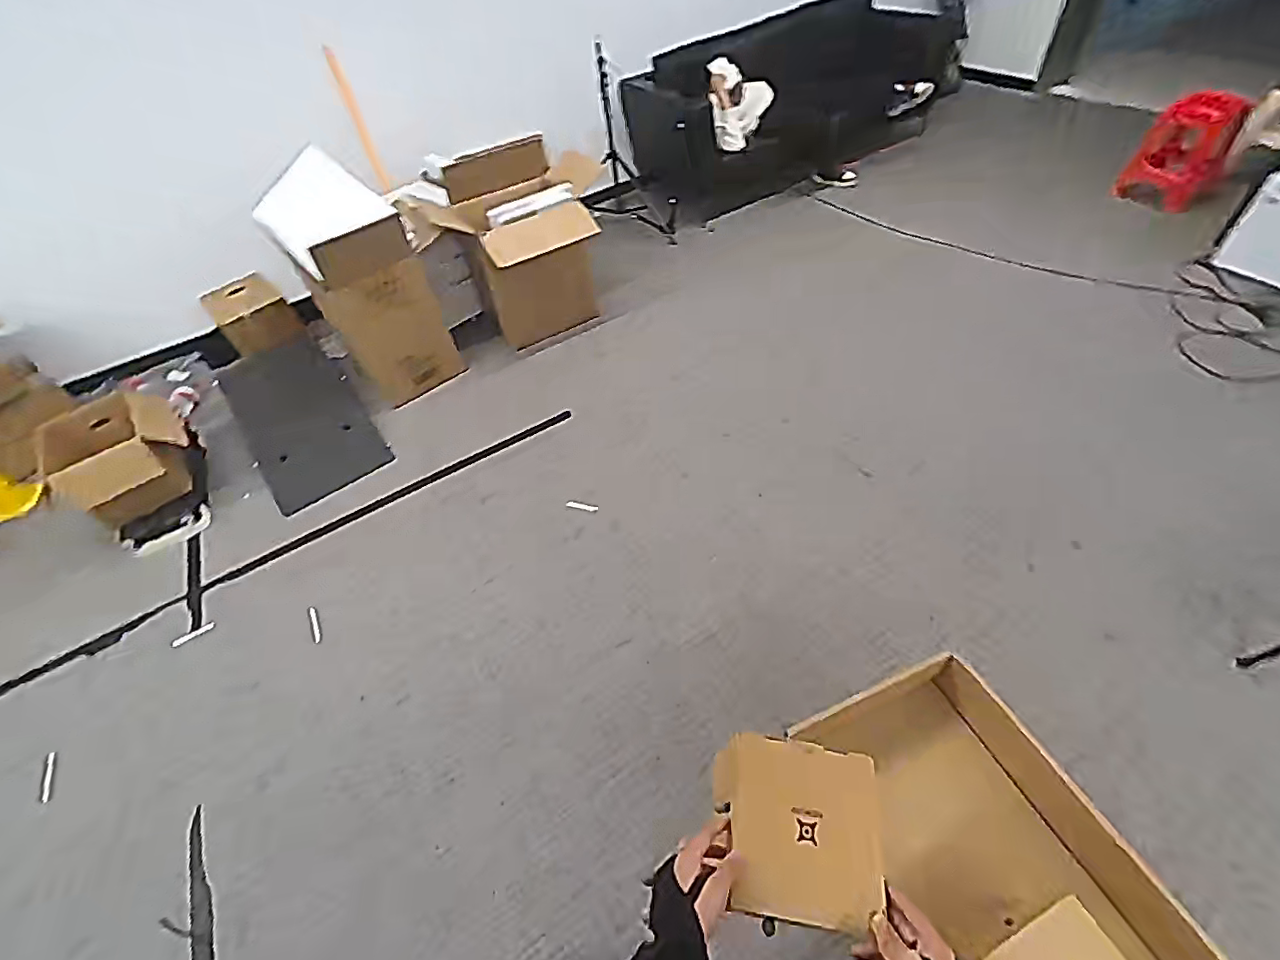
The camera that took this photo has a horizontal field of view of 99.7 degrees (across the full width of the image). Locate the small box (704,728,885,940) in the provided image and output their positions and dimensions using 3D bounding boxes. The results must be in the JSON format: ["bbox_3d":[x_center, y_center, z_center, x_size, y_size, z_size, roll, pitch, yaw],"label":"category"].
[{"bbox_3d":[0.174,0.428,0.656,0.168,0.176,0.179,9,51,3],"label":"small box"}]

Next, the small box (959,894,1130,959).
[{"bbox_3d":[0.588,0.730,0.763,0.179,0.176,0.168,-22,50,-13],"label":"small box"}]
